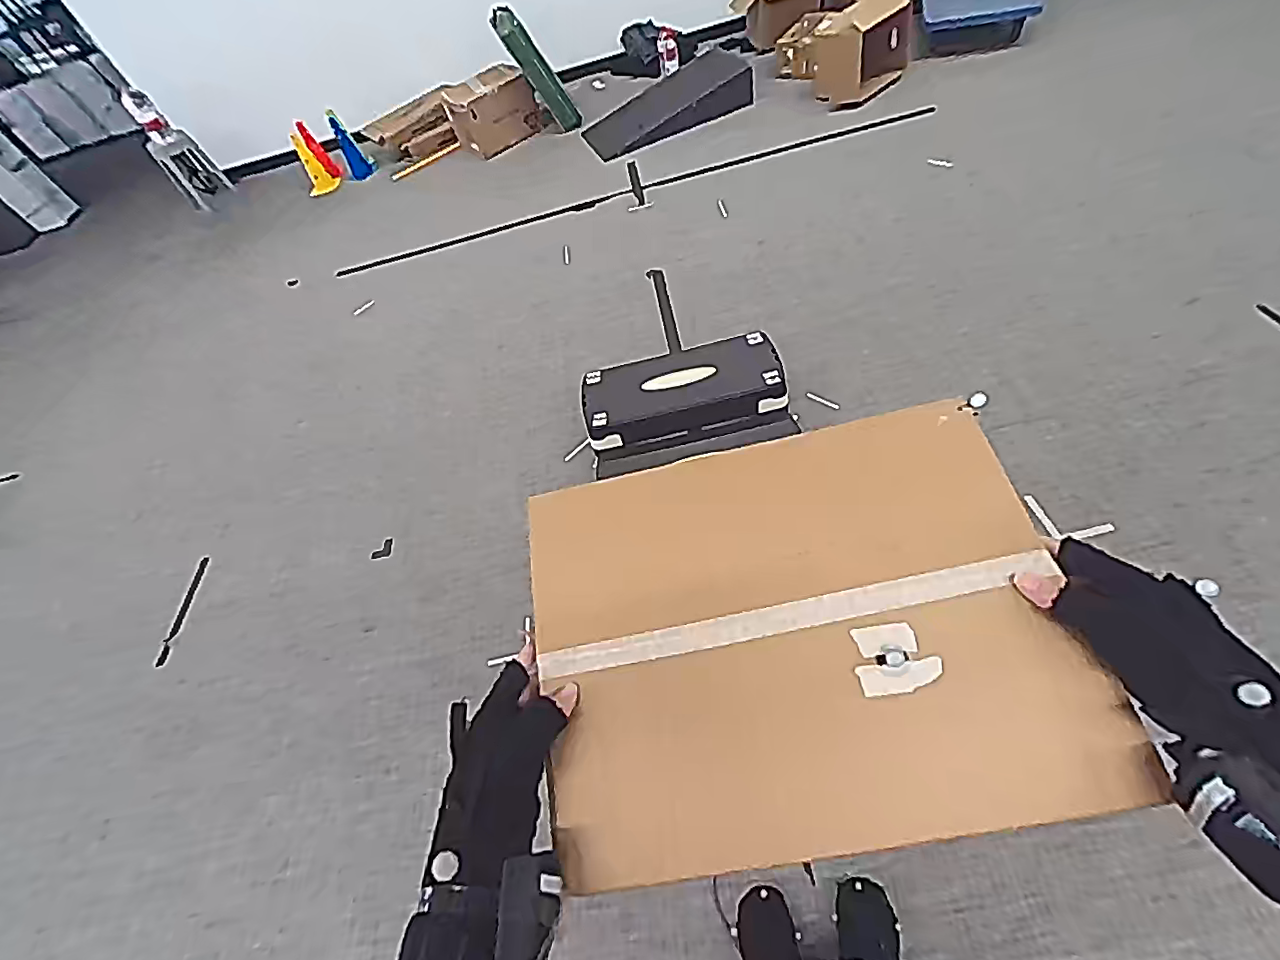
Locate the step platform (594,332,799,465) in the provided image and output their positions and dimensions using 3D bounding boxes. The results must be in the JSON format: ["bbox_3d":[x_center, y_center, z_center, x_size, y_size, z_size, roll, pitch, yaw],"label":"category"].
[{"bbox_3d":[0.185,-0.282,1.858,0.684,0.204,0.286,-13,53,4],"label":"step platform"}]

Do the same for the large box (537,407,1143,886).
[{"bbox_3d":[0.143,0.177,0.570,0.408,0.320,0.320,-13,63,6],"label":"large box"}]
